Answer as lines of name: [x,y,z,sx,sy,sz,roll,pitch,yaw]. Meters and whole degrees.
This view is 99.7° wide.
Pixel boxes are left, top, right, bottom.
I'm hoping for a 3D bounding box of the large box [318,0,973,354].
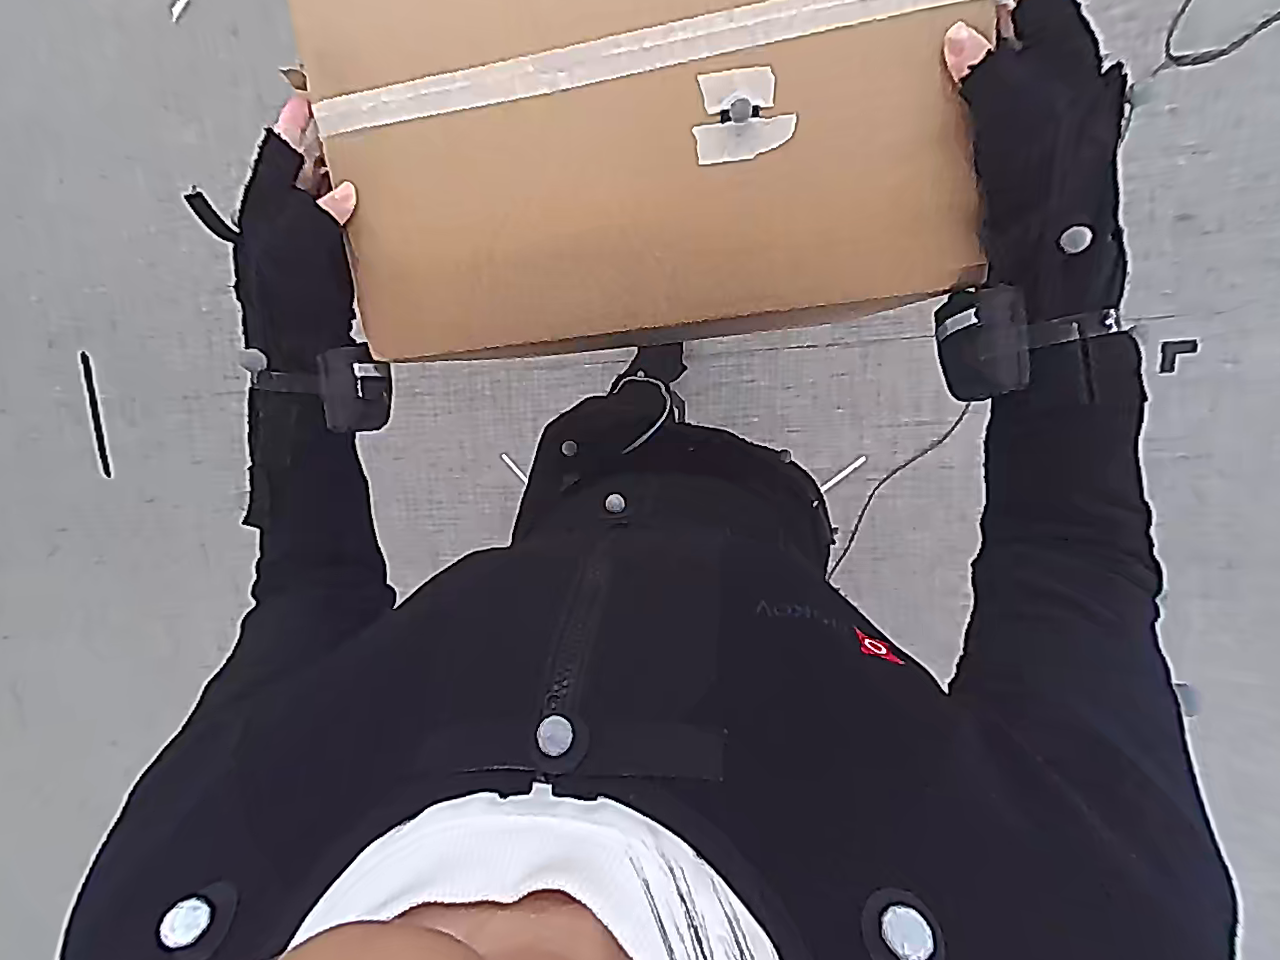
large box: [0.011,-0.294,0.481,0.408,0.320,0.320,-5,103,8]
